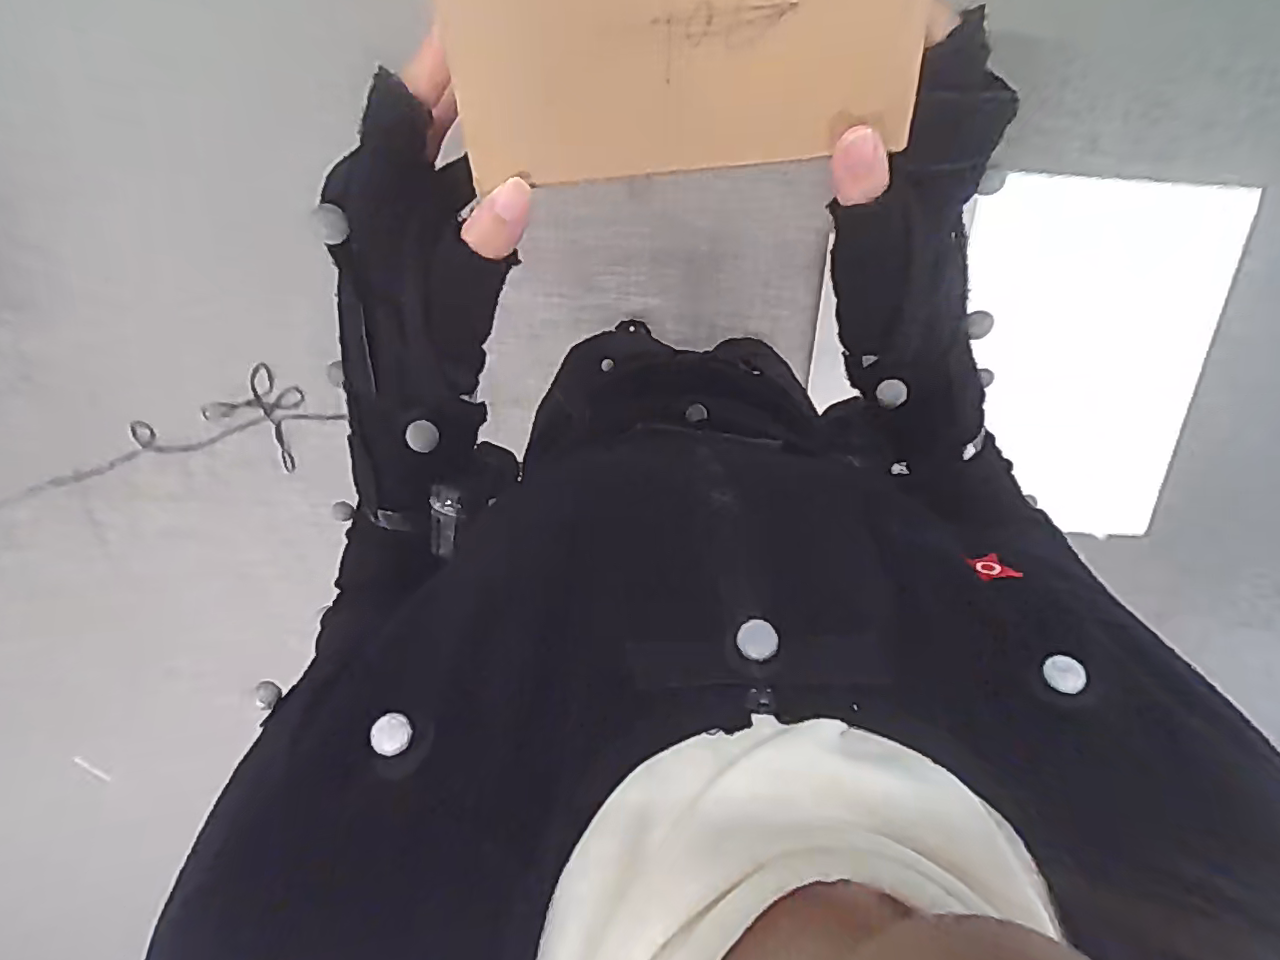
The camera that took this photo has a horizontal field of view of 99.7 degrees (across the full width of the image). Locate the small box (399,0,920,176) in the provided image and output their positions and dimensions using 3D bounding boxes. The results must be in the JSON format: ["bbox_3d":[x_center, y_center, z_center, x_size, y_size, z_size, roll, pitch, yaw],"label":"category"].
[{"bbox_3d":[-0.003,-0.228,0.214,0.168,0.176,0.179,-7,122,-1],"label":"small box"}]
